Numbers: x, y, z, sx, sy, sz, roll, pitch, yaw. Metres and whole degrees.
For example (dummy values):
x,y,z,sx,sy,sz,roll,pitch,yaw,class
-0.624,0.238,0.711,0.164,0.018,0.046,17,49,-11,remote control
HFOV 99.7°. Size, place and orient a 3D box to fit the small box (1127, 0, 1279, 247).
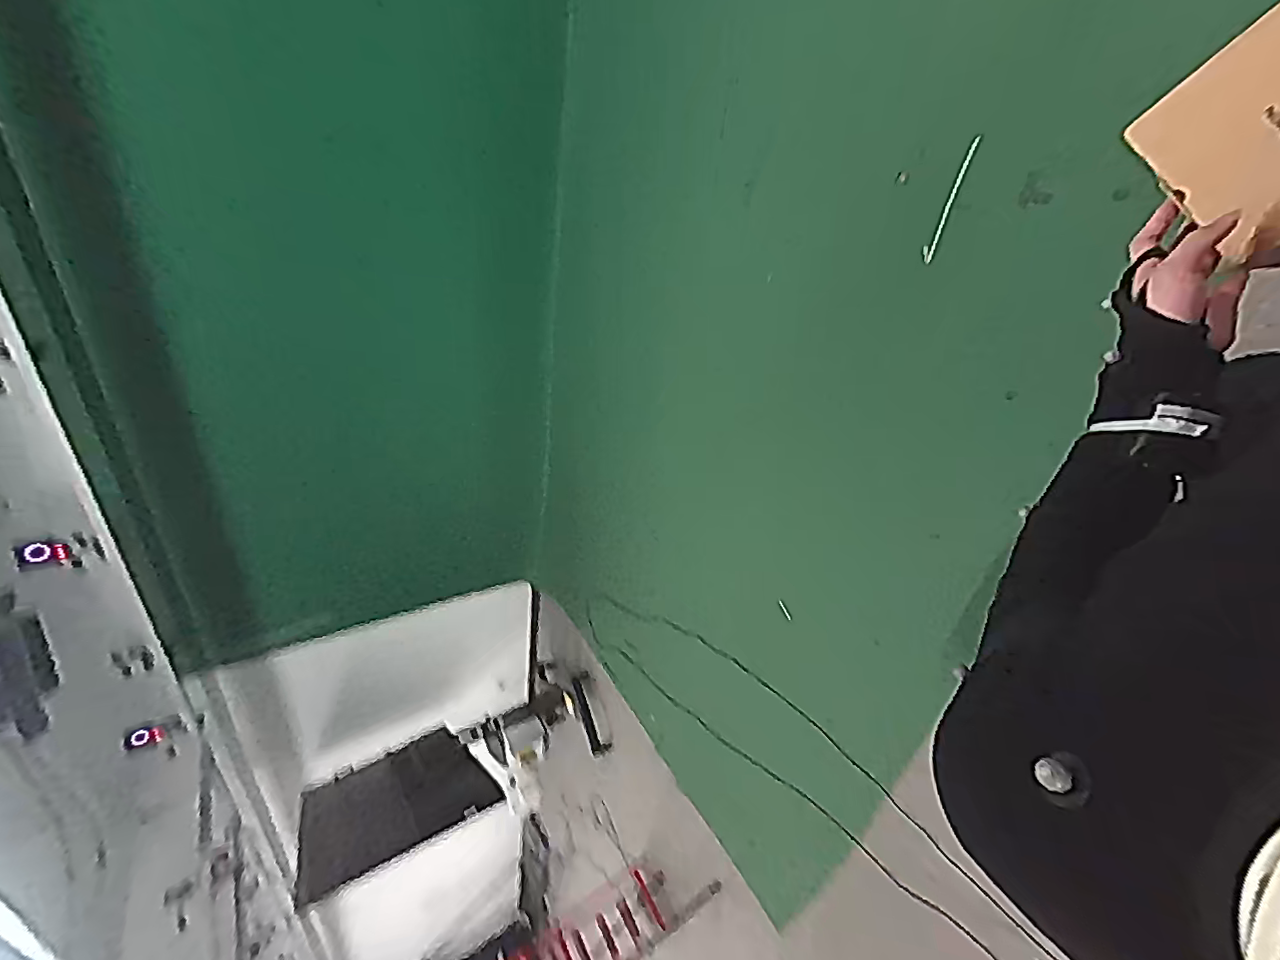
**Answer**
x,y,z,sx,sy,sz,roll,pitch,yaw,class
0.581,-0.319,0.454,0.179,0.176,0.168,-40,68,56,small box
